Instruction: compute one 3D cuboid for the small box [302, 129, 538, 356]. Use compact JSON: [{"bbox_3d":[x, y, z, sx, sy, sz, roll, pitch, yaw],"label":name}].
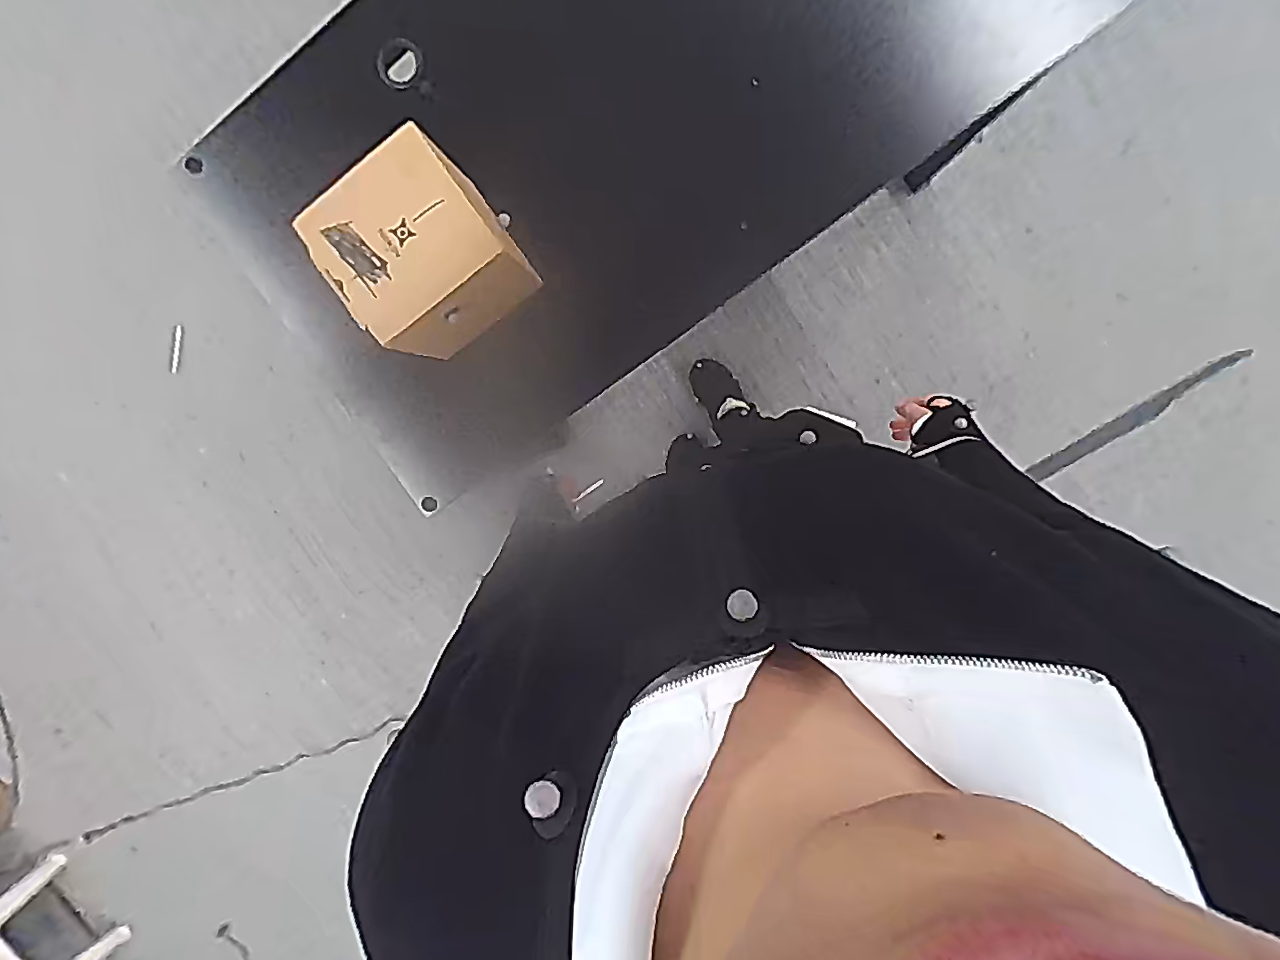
[{"bbox_3d":[-0.256,-0.273,0.673,0.179,0.176,0.168,-35,93,8],"label":"small box"}]
